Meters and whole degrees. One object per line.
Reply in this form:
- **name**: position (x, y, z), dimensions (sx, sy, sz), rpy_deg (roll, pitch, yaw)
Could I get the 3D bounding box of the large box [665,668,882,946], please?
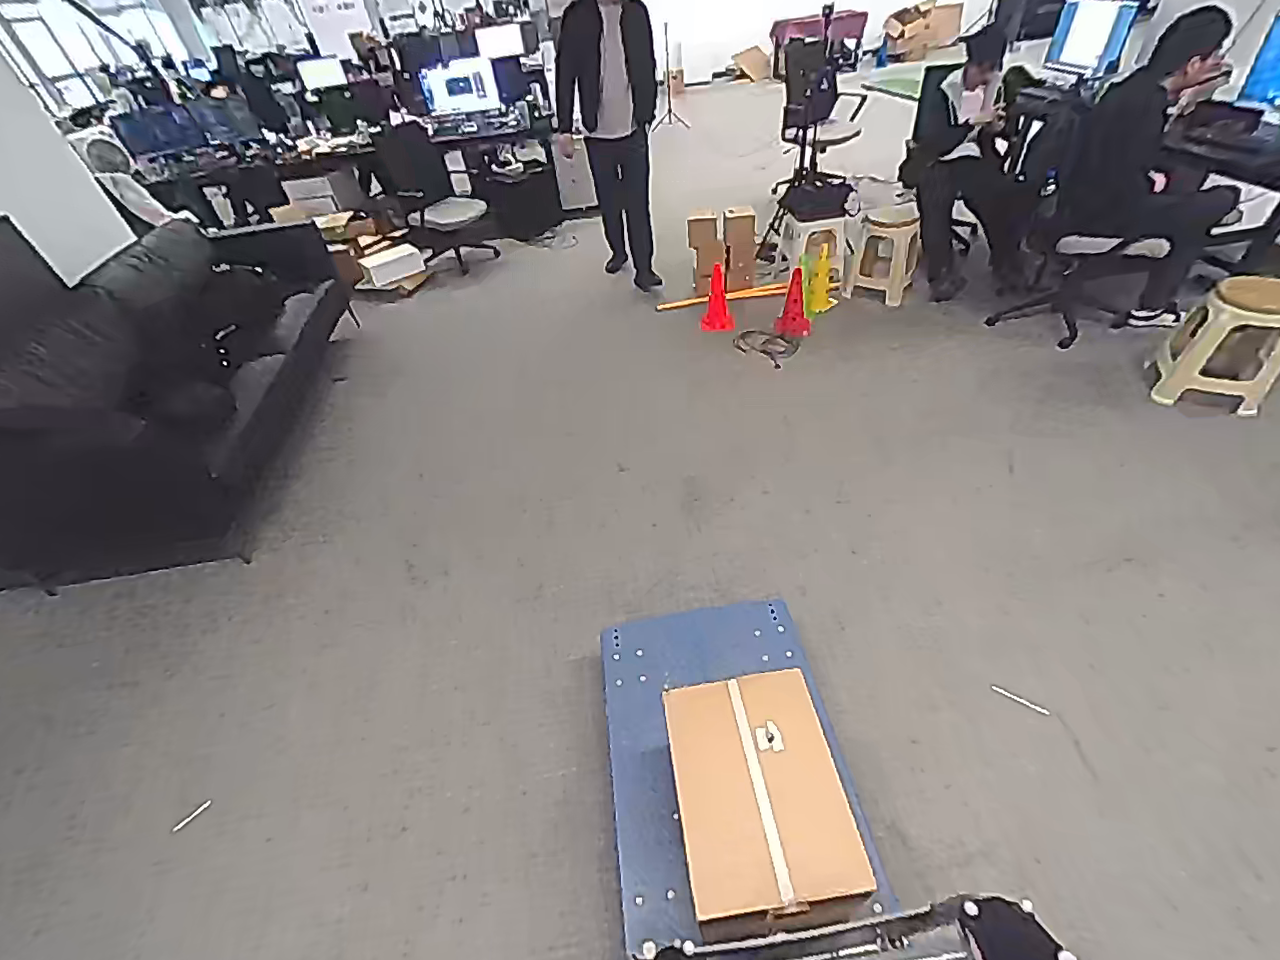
- **large box**: position (0.249, 0.678, 1.140), dimensions (0.320, 0.320, 0.408), rpy_deg (-9, 43, -1)
